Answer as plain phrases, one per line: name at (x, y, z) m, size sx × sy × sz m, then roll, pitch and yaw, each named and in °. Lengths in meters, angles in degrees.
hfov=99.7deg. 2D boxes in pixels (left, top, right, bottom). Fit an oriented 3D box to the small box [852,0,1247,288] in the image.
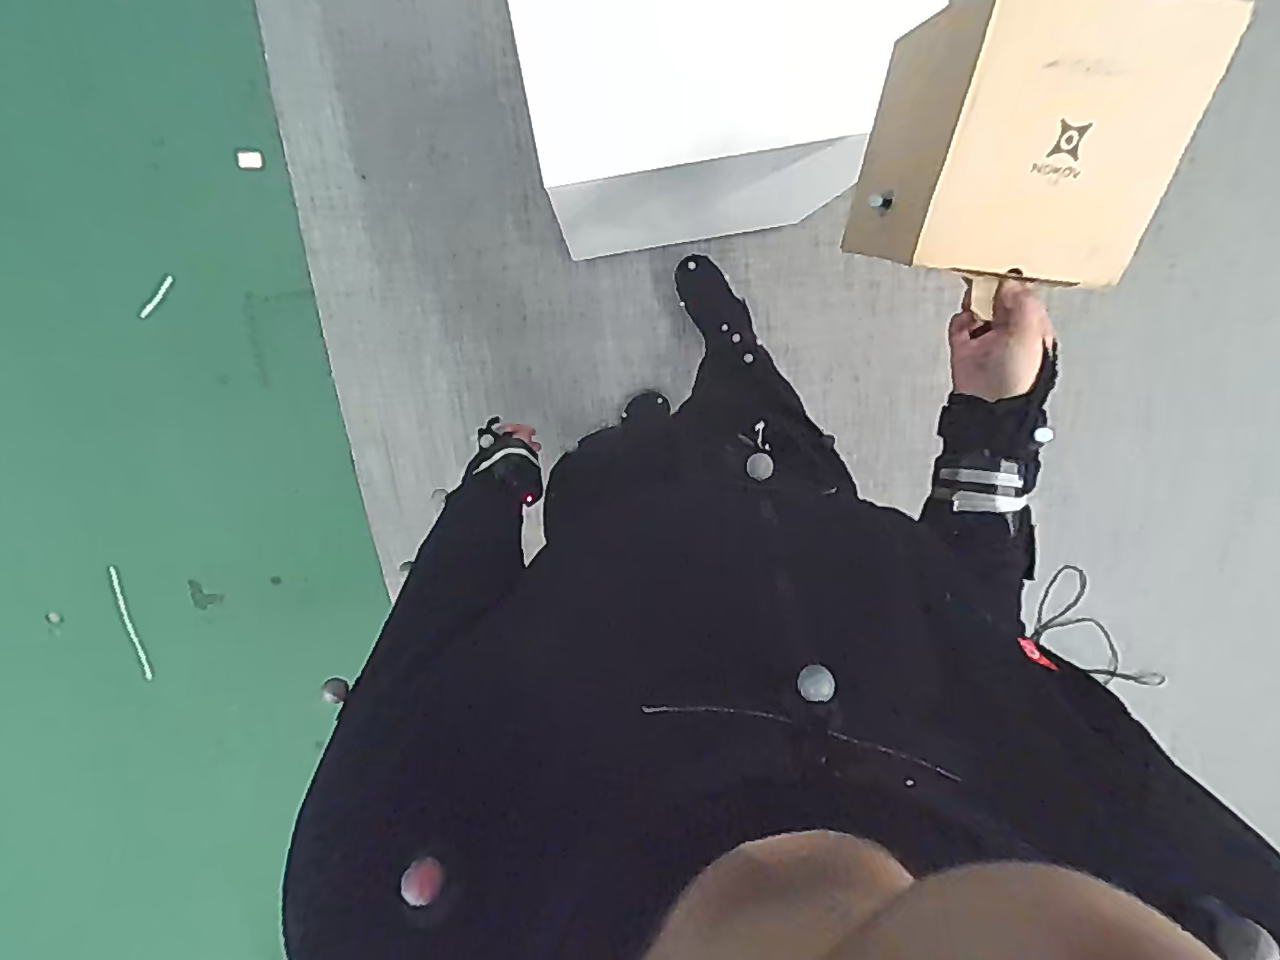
small box at (0.295, -0.268, 0.446) m, size 0.168 × 0.176 × 0.179 m, roll 5°, pitch 116°, yaw -2°
